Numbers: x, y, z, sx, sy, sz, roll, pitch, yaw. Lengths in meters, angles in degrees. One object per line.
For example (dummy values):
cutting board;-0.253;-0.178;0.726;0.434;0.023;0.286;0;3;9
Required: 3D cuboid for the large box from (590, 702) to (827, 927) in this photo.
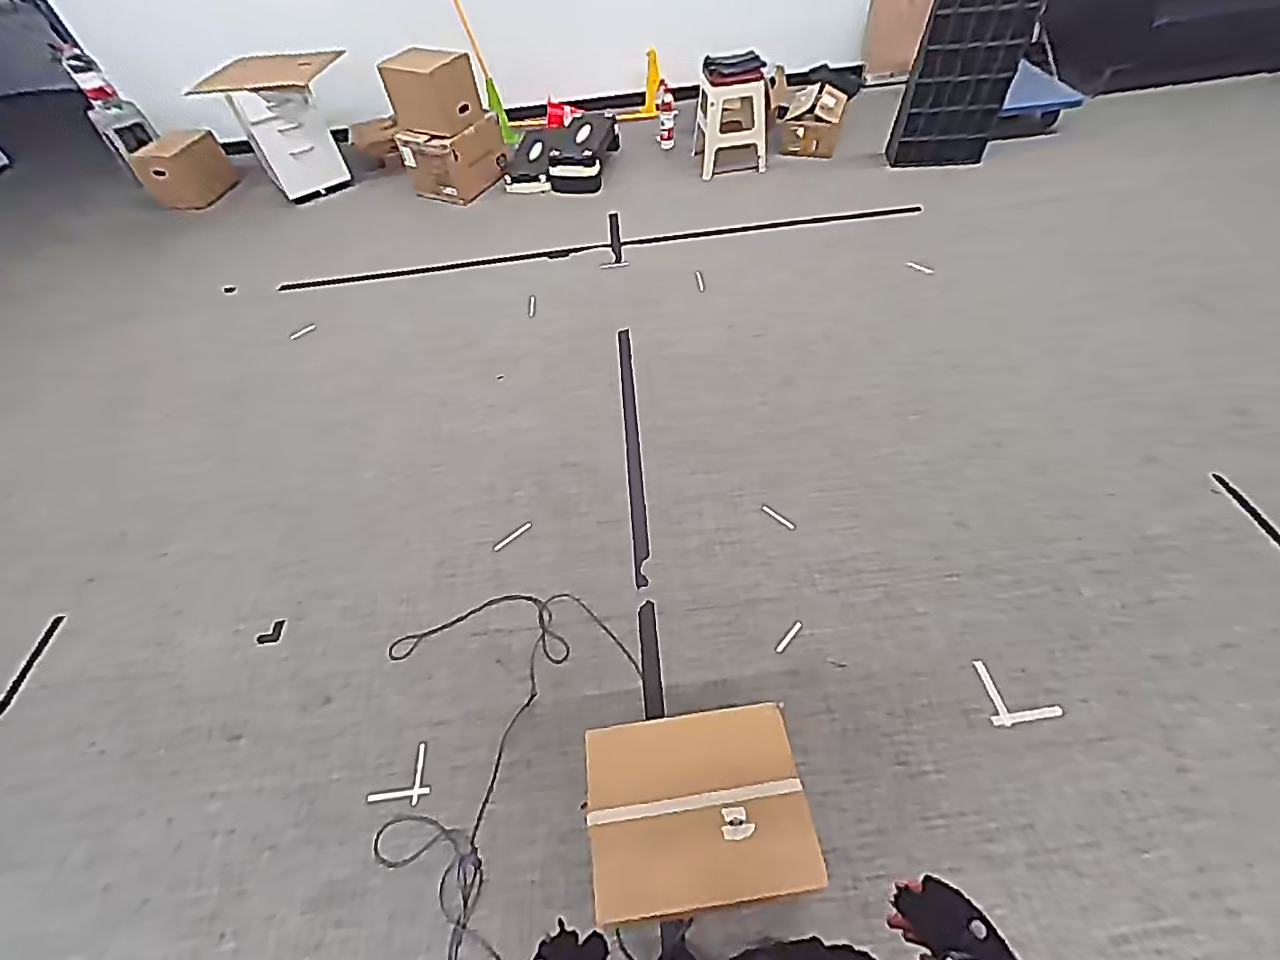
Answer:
large box;0.121;0.707;1.137;0.408;0.320;0.320;-8;50;-2
